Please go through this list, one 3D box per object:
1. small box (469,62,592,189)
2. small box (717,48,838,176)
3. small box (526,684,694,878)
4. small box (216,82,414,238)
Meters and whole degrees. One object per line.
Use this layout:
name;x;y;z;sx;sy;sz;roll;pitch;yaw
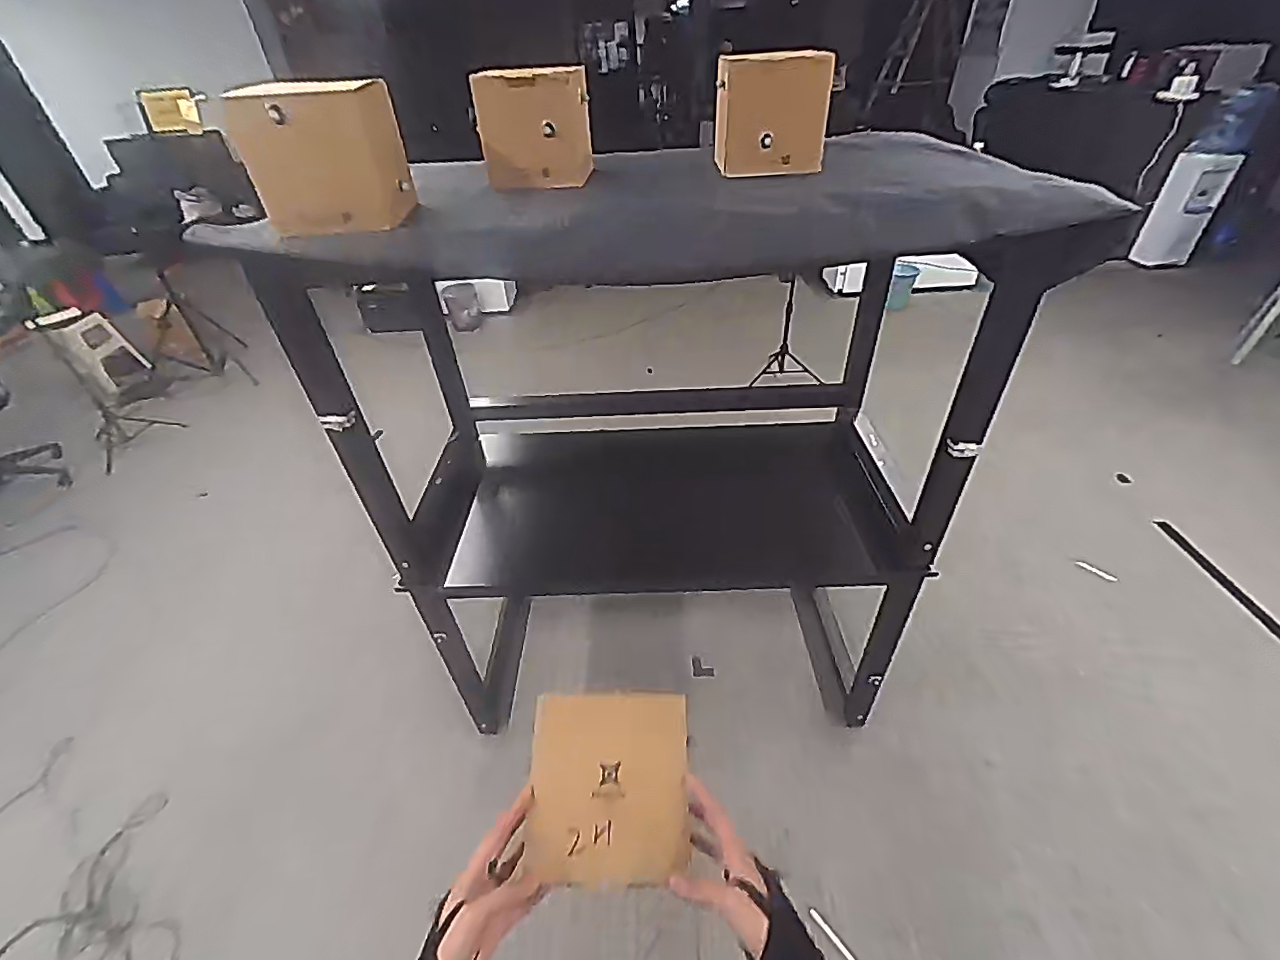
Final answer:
small box;-0.180;-0.620;0.952;0.168;0.176;0.179;0;40;3
small box;0.227;-0.641;0.944;0.168;0.176;0.179;-2;40;2
small box;-0.030;0.340;0.629;0.168;0.176;0.179;1;65;0
small box;-0.439;-0.457;0.771;0.168;0.176;0.179;-7;40;-4
